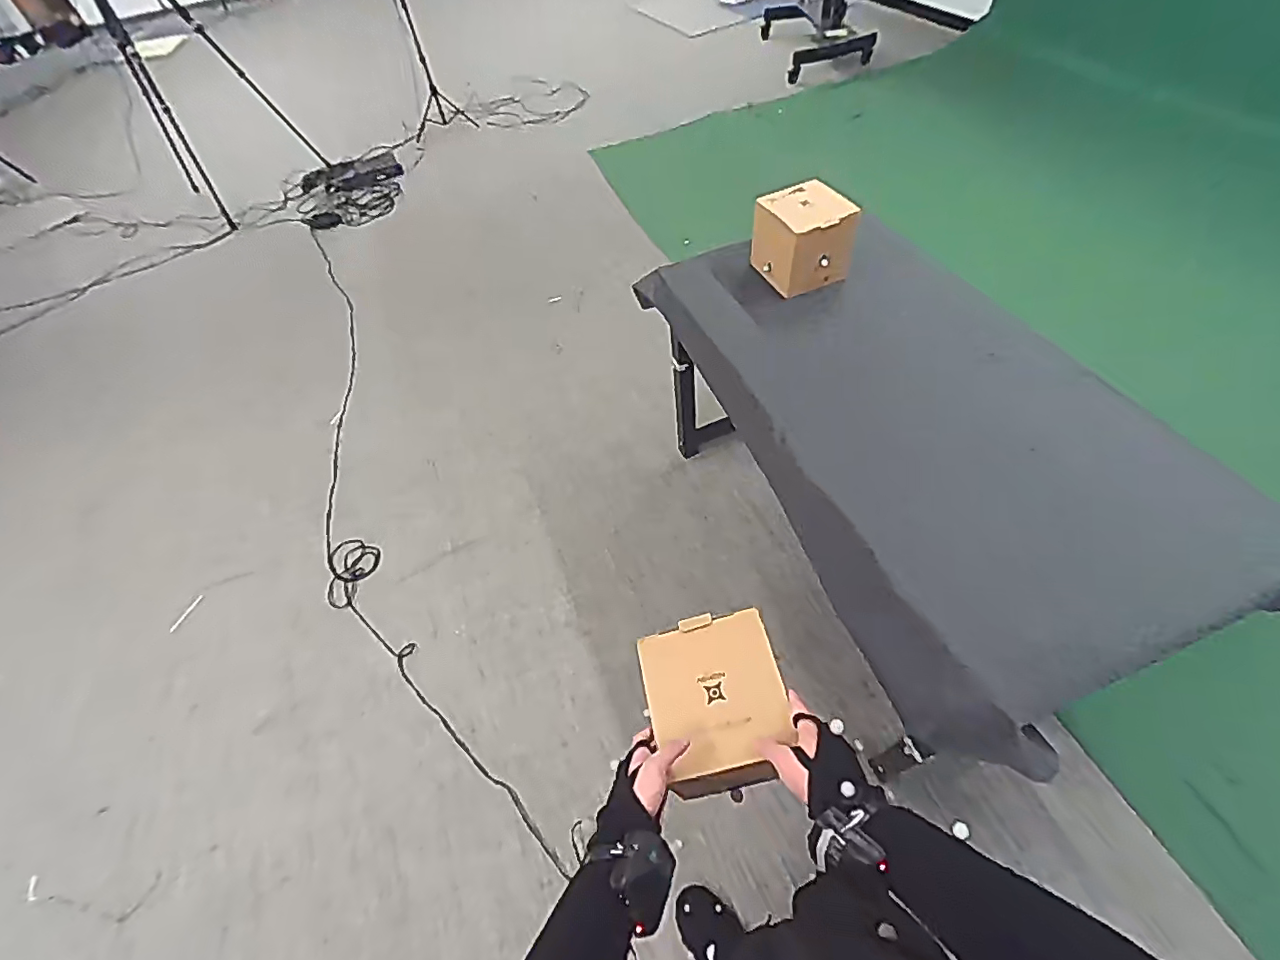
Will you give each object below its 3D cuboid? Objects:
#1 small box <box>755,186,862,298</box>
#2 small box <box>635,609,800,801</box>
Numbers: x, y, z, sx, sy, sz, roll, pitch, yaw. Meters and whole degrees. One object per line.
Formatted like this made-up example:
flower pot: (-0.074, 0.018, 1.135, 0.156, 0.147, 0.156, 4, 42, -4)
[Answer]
small box: (0.389, -0.553, 1.280, 0.168, 0.176, 0.179, -22, 56, -9)
small box: (0.100, 0.295, 0.700, 0.168, 0.176, 0.179, -16, 52, 6)
